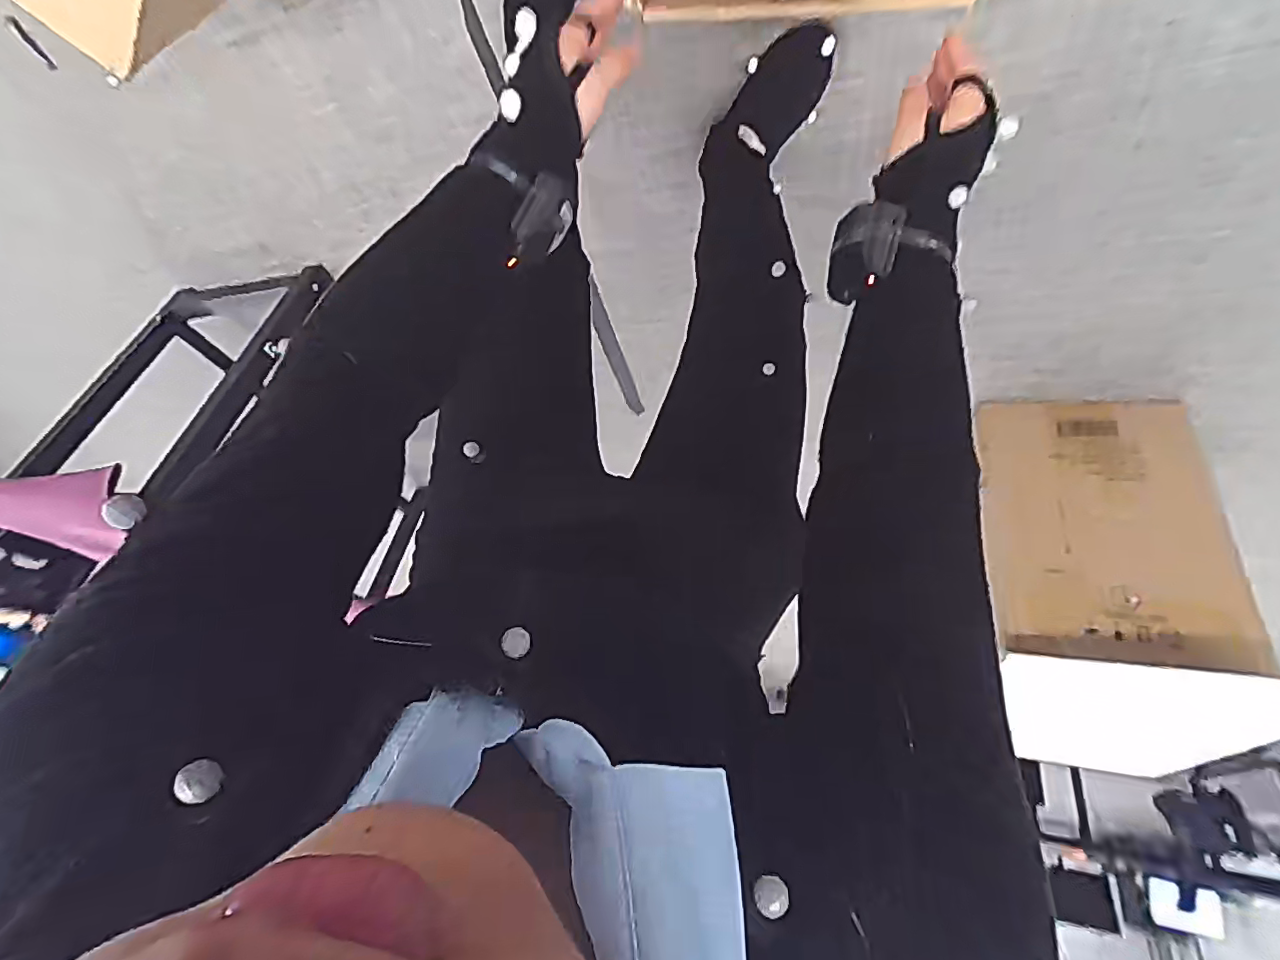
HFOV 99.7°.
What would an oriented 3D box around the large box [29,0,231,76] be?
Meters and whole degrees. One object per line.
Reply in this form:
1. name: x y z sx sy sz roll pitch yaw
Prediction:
1. large box: -0.596 -0.775 0.570 0.408 0.320 0.320 -15 139 42
